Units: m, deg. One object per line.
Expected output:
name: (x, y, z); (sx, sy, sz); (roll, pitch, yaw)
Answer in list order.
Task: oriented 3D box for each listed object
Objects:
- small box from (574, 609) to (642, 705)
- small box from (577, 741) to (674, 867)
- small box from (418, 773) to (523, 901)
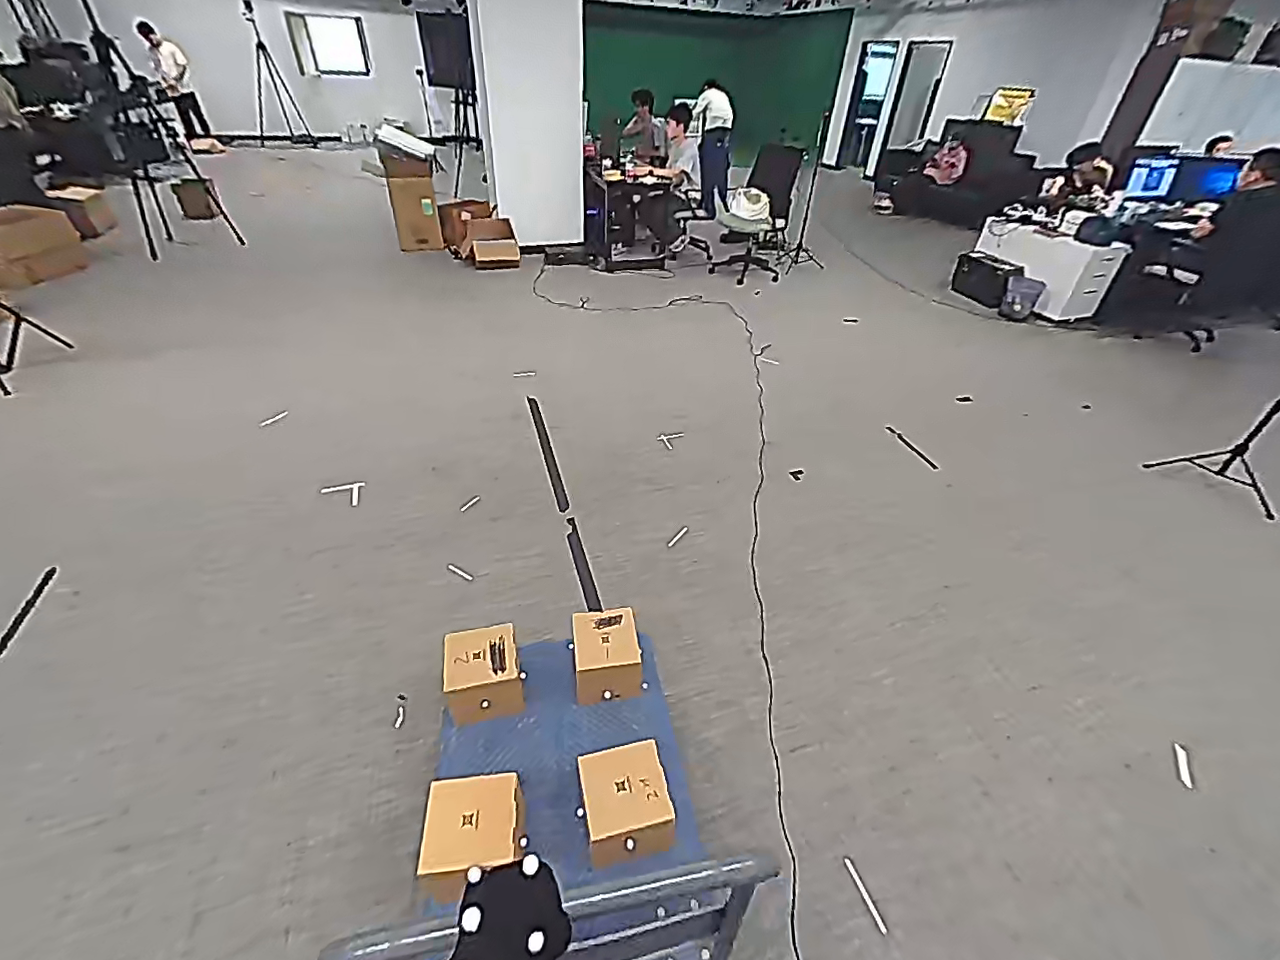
small box: (-0.092, 0.474, 1.454); (0.168, 0.176, 0.179); (-4, 40, -9)
small box: (-0.034, 0.701, 1.168); (0.179, 0.176, 0.168); (-7, 39, -12)
small box: (-0.337, 0.733, 1.109); (0.179, 0.176, 0.168); (-2, 38, -9)
